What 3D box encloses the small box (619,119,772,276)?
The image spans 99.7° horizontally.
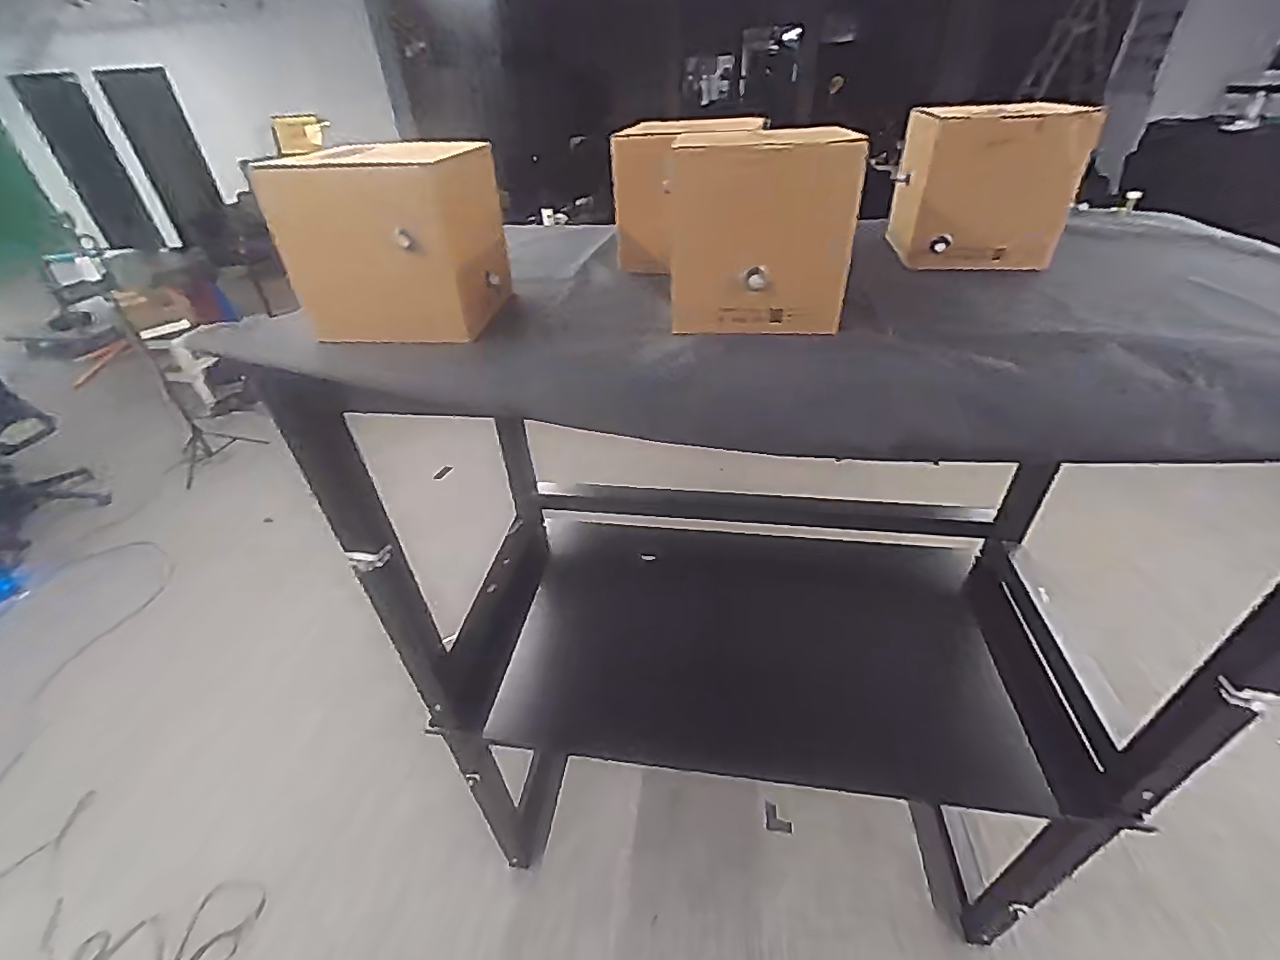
[{"bbox_3d":[0.081,-0.387,0.746,0.179,0.176,0.168,6,38,13],"label":"small box"}]

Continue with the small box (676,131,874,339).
[{"bbox_3d":[0.127,-0.261,0.568,0.168,0.176,0.179,3,36,8],"label":"small box"}]

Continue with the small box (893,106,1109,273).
[{"bbox_3d":[0.445,-0.376,0.703,0.168,0.176,0.179,5,37,11],"label":"small box"}]
